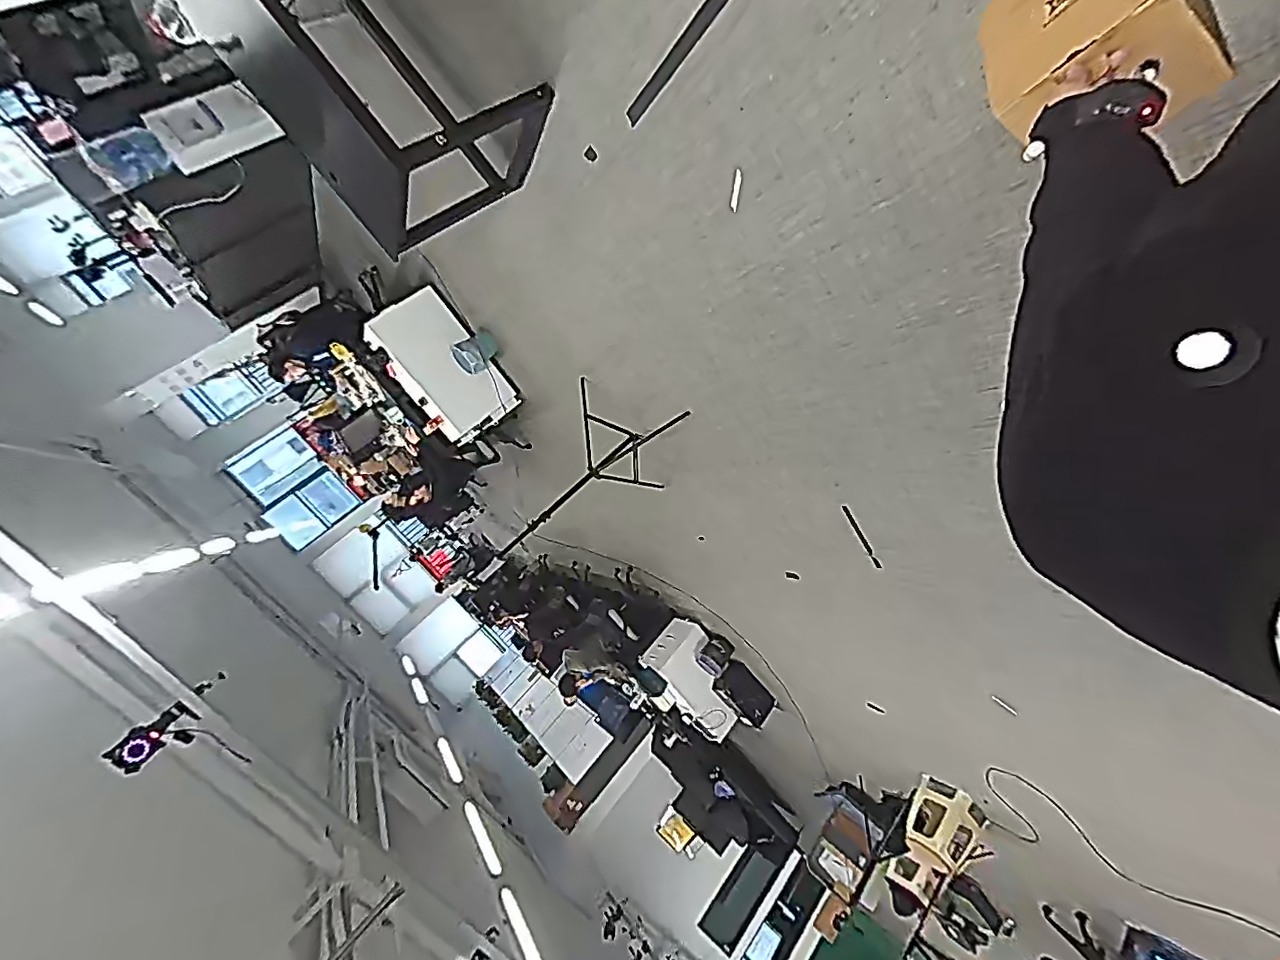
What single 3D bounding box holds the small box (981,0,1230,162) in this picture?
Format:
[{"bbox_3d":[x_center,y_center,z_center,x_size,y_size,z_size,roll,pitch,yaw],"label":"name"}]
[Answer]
[{"bbox_3d":[0.545,-0.519,0.642,0.176,0.179,0.168,13,161,-27],"label":"small box"}]
